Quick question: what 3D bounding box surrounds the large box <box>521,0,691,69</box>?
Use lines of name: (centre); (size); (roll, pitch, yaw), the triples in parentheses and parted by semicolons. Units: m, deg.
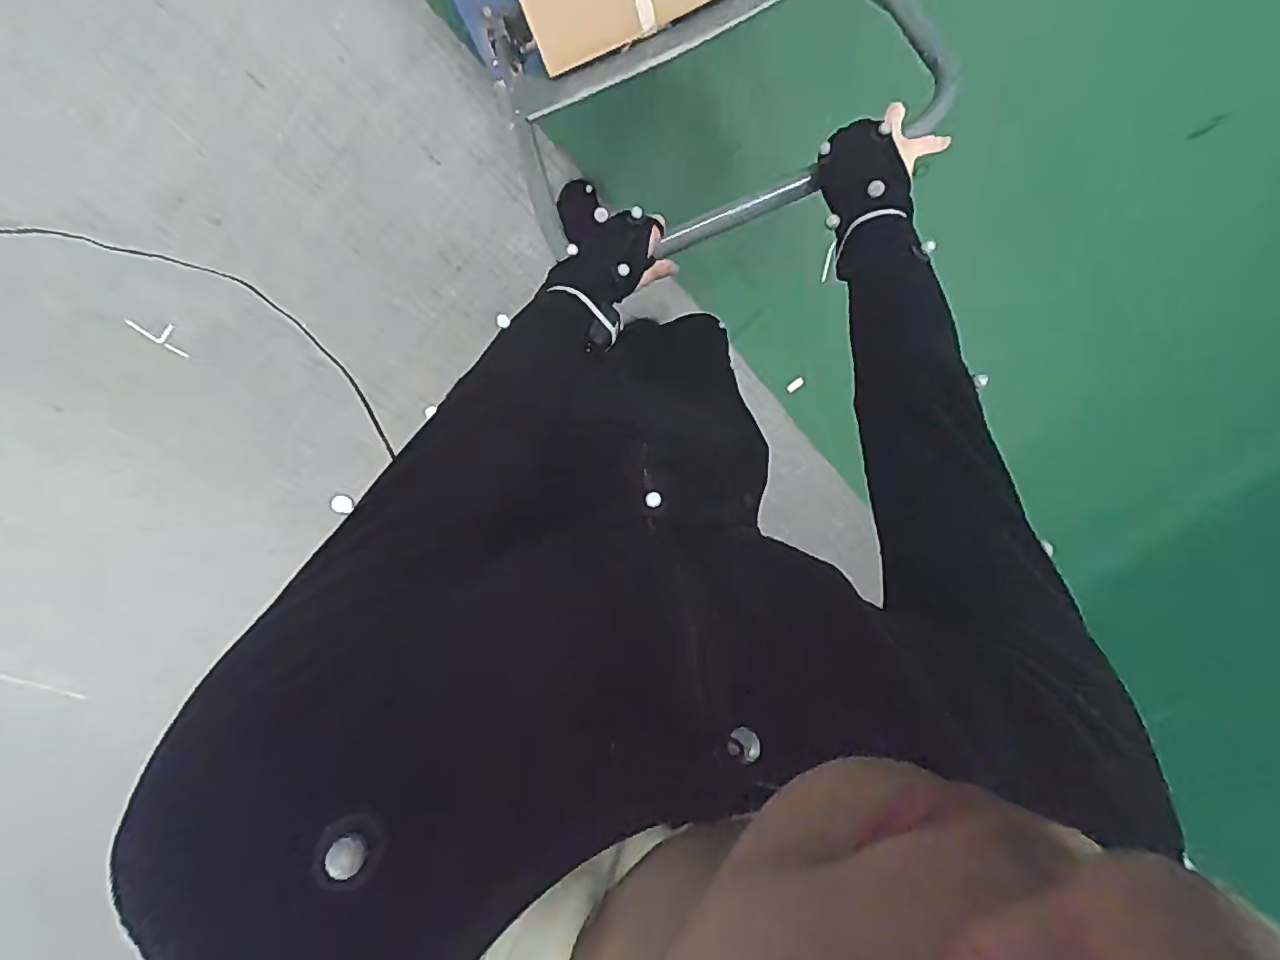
large box: (-0.083, -0.885, 0.727); (0.320, 0.320, 0.408); (-21, 142, 8)
